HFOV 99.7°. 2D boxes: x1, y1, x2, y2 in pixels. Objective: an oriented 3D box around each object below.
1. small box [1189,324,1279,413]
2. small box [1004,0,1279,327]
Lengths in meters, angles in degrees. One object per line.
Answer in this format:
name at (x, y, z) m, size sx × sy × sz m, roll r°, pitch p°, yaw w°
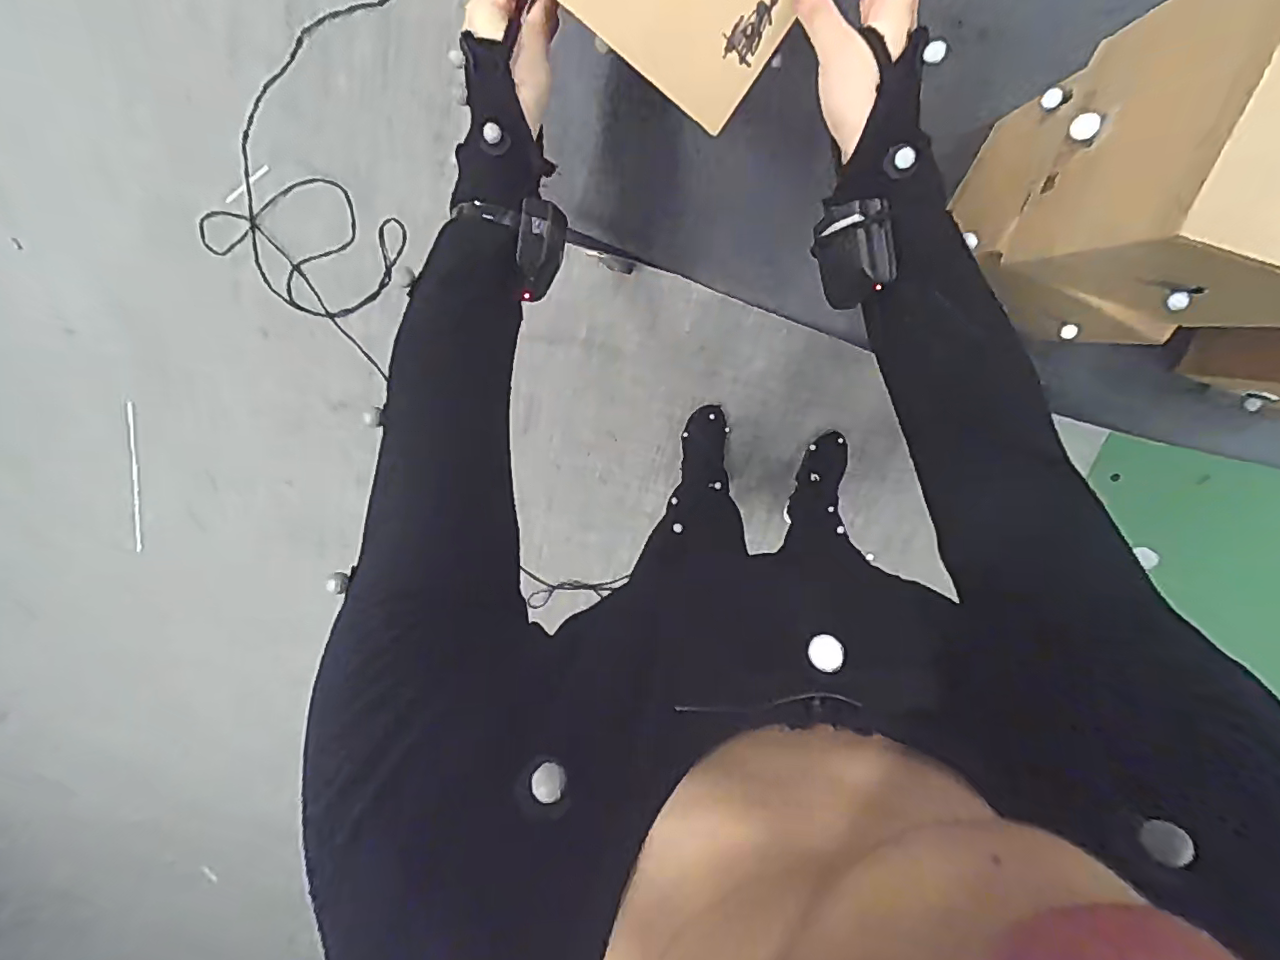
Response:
small box at (0.711, -0.151, 0.521) m, size 0.168 × 0.176 × 0.179 m, roll 17°, pitch 106°, yaw 0°
small box at (0.398, -0.204, 0.354) m, size 0.179 × 0.176 × 0.168 m, roll 17°, pitch 106°, yaw -1°
